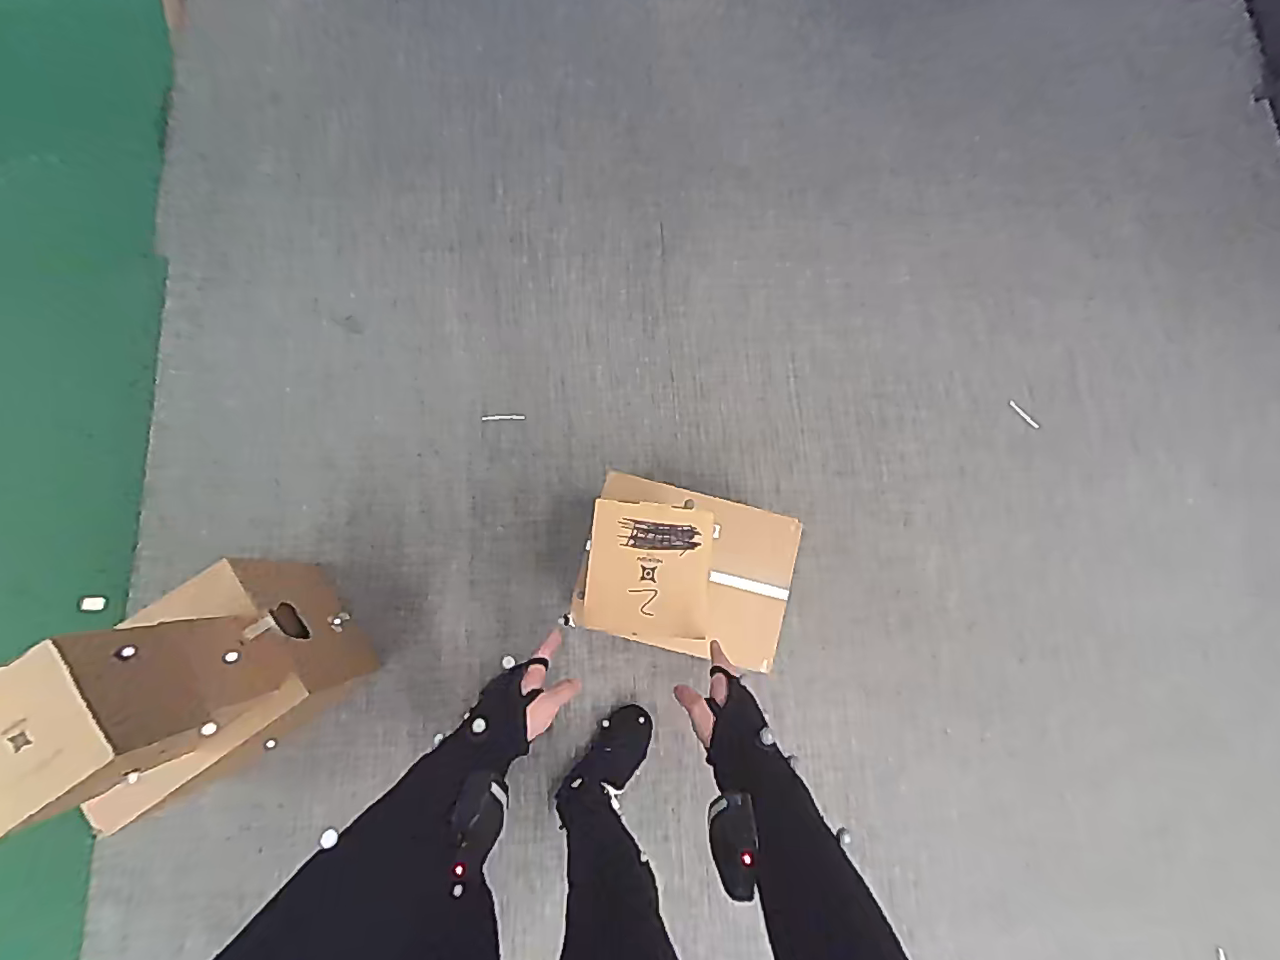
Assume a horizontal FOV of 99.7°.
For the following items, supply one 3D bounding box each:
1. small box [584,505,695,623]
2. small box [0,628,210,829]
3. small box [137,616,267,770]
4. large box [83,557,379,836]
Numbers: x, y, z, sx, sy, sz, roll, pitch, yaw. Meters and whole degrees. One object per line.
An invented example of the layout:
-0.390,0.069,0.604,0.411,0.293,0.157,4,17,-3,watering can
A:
-0.003,0.149,0.963,0.168,0.176,0.179,7,80,-2,small box
-0.743,0.314,0.723,0.168,0.176,0.179,-34,84,-8,small box
-0.758,0.339,0.884,0.179,0.176,0.168,-36,83,-9,small box
-0.848,0.403,1.118,0.408,0.320,0.320,-36,82,-8,large box
